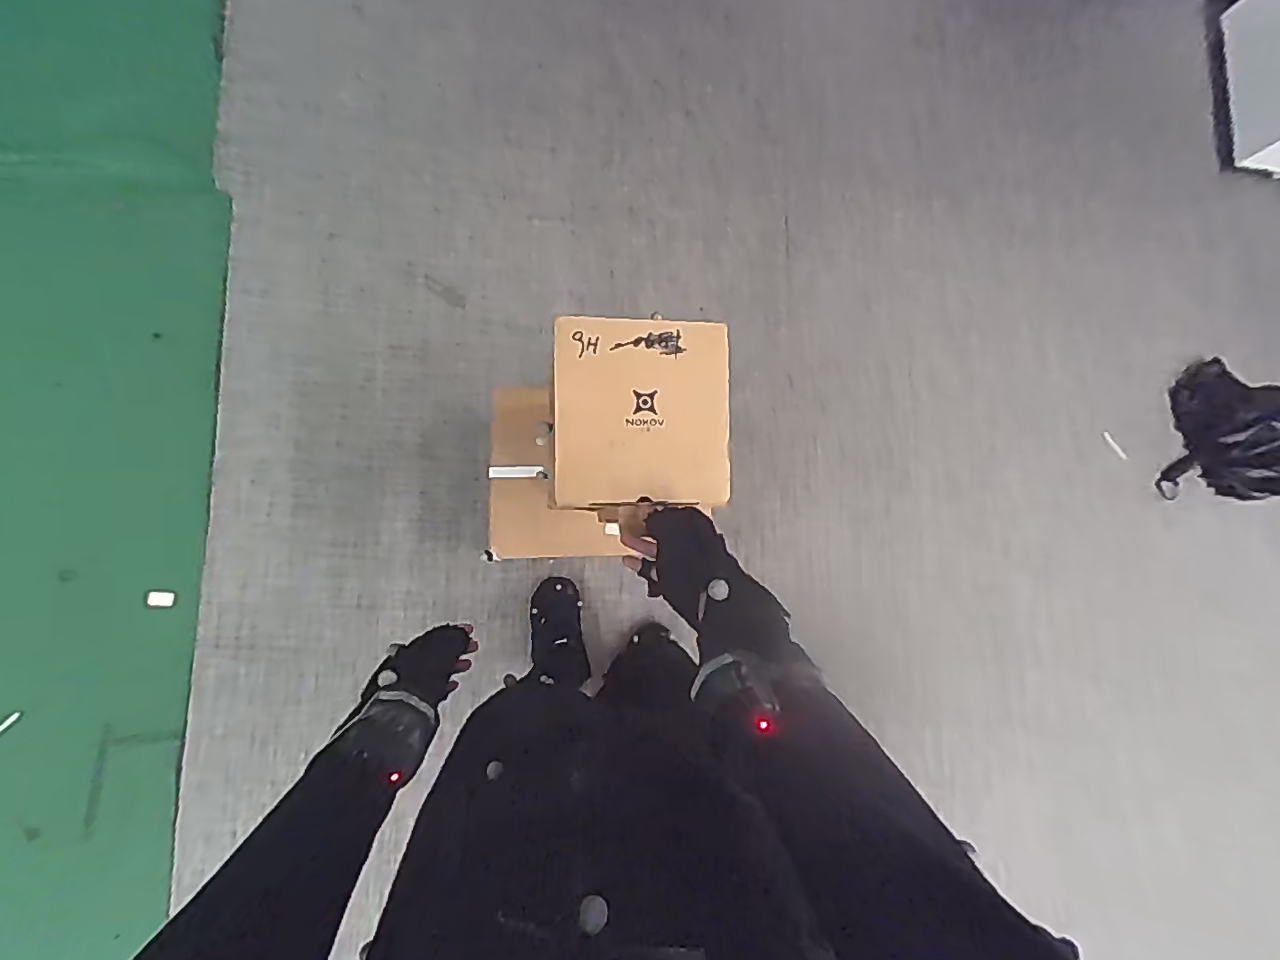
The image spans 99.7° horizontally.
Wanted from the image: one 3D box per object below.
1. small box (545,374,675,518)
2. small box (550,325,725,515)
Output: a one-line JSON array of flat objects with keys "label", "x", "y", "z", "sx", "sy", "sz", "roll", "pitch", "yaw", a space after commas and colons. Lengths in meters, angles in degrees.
[{"label": "small box", "x": -0.046, "y": -0.040, "z": 0.747, "sx": 0.168, "sy": 0.176, "sz": 0.179, "roll": -1, "pitch": 87, "yaw": -11}, {"label": "small box", "x": -0.012, "y": -0.054, "z": 0.587, "sx": 0.168, "sy": 0.176, "sz": 0.179, "roll": 0, "pitch": 88, "yaw": -10}]
